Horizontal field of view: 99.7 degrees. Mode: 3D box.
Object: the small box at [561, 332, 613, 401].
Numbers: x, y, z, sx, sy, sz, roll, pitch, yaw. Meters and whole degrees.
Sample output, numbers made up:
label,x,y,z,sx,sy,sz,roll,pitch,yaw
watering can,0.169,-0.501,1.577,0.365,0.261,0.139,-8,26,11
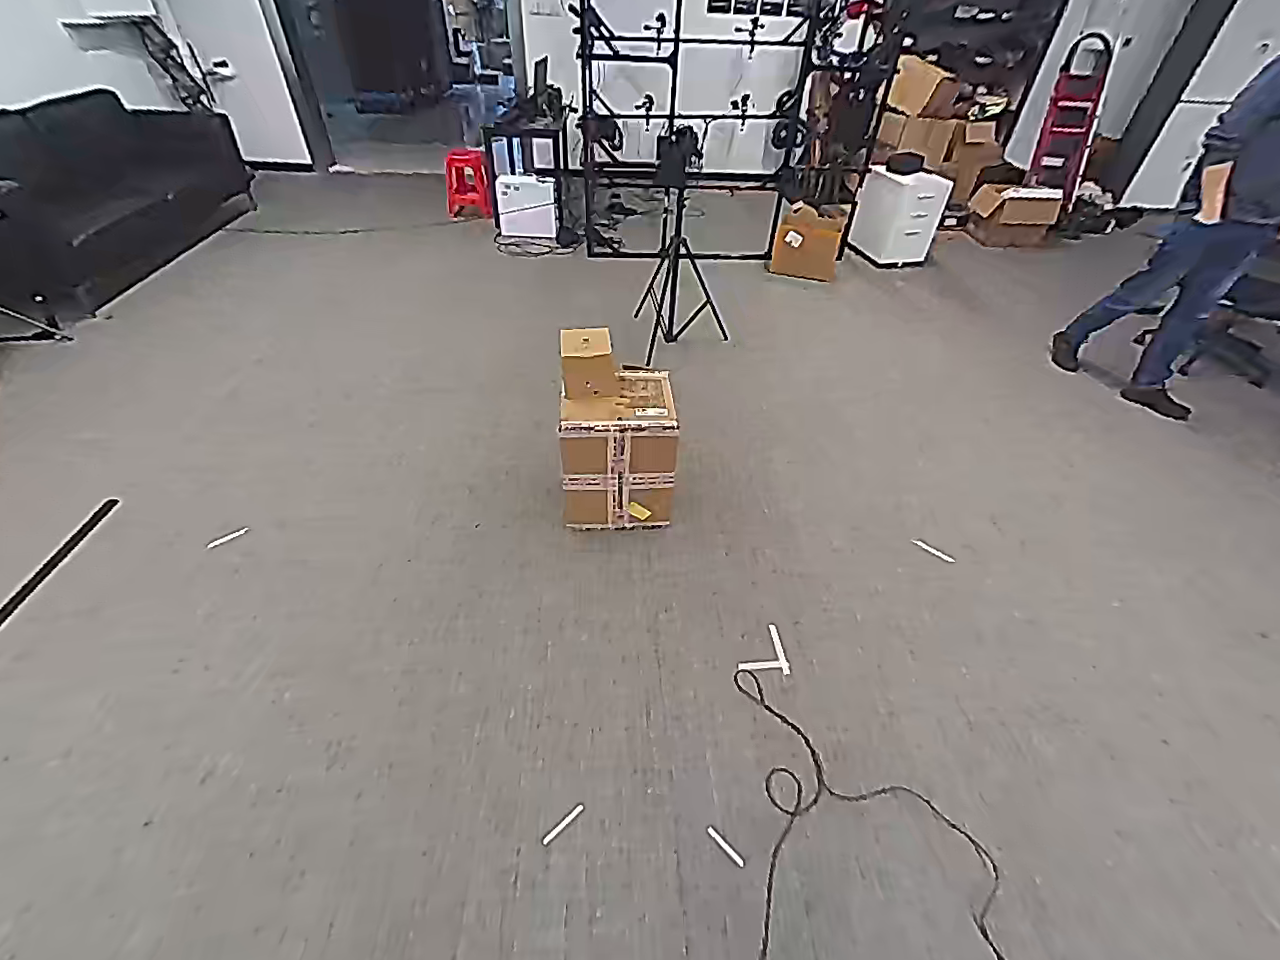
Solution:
label,x,y,z,sx,sy,sz,roll,pitch,yaw
small box,-0.183,-0.389,1.853,0.168,0.176,0.179,-5,45,-5
